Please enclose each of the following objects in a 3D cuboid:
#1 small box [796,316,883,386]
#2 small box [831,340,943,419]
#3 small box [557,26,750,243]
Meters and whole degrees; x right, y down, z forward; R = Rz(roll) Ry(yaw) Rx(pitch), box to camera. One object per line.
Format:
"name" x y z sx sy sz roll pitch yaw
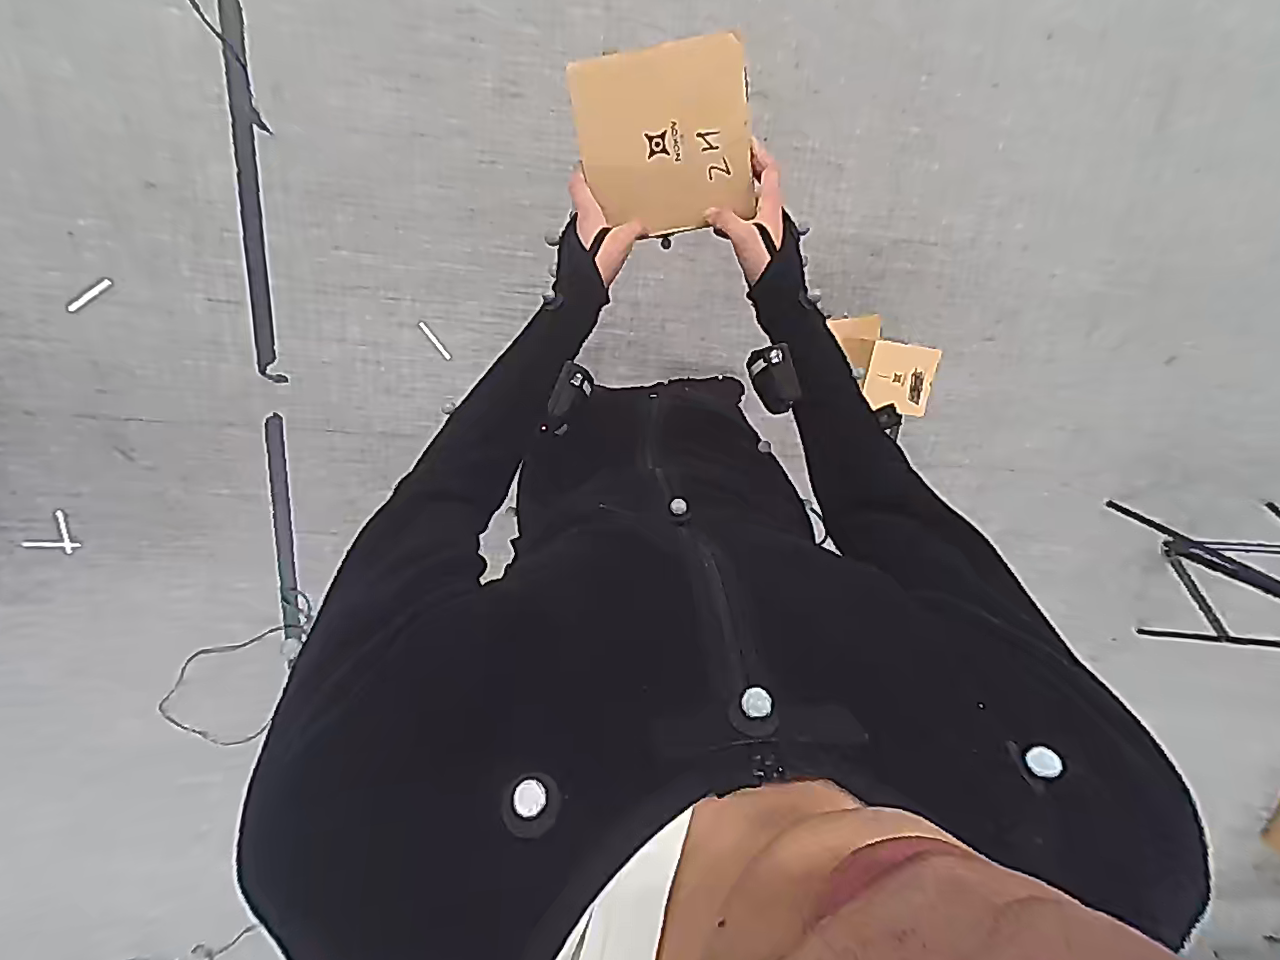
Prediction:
"small box" 0.550 -0.364 1.505 0.179 0.176 0.168 -7 108 -3
"small box" 0.618 -0.261 1.372 0.179 0.176 0.168 7 106 -7
"small box" 0.018 -0.367 0.609 0.179 0.176 0.168 -9 114 3
